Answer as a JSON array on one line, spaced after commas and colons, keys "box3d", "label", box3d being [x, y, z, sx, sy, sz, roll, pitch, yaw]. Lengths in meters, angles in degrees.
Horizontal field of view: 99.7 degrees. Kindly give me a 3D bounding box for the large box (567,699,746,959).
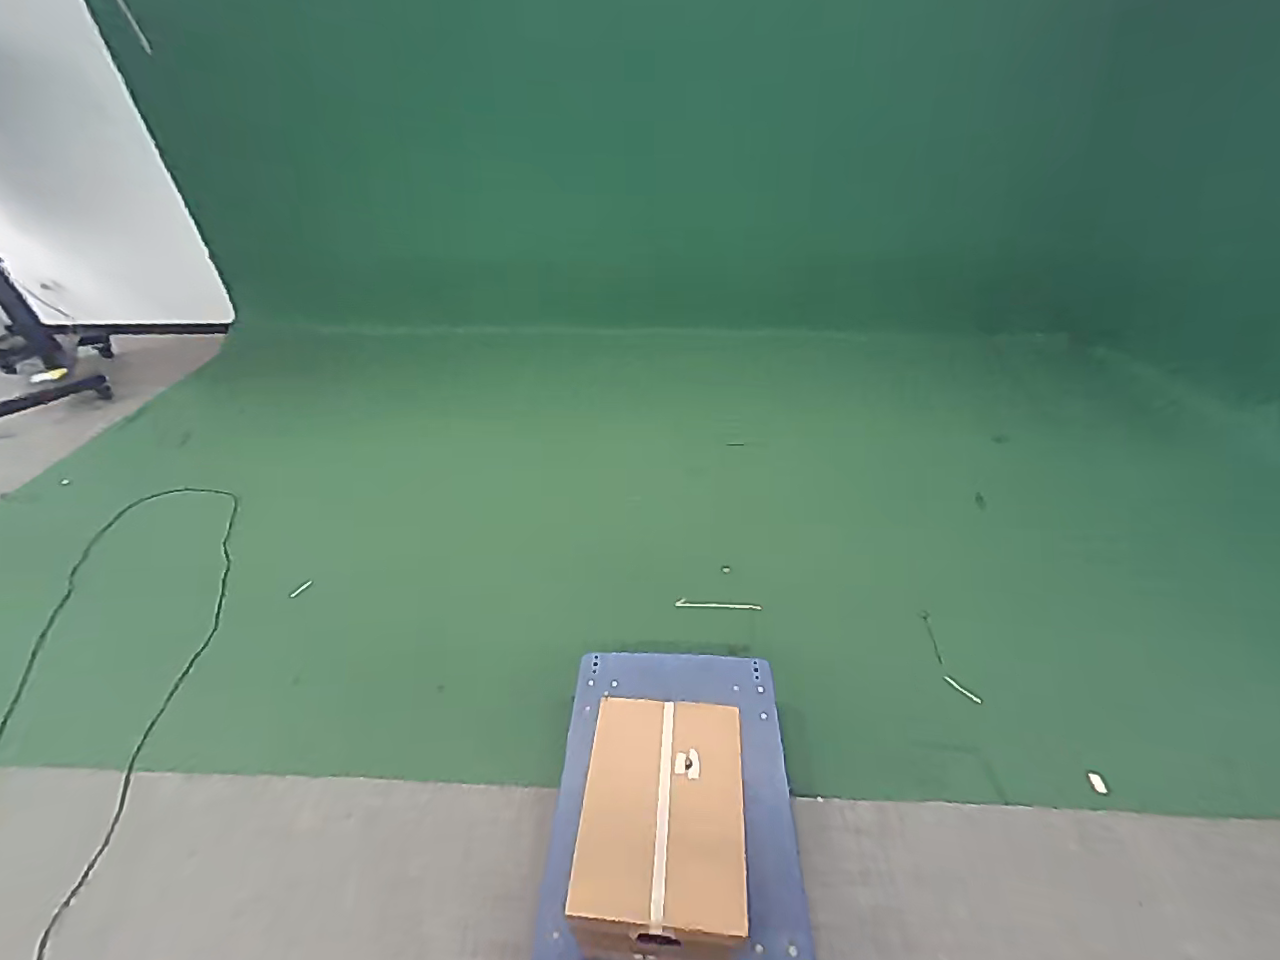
[{"box3d": [0.047, 0.745, 1.158, 0.320, 0.320, 0.408, 3, 38, 5], "label": "large box"}]
